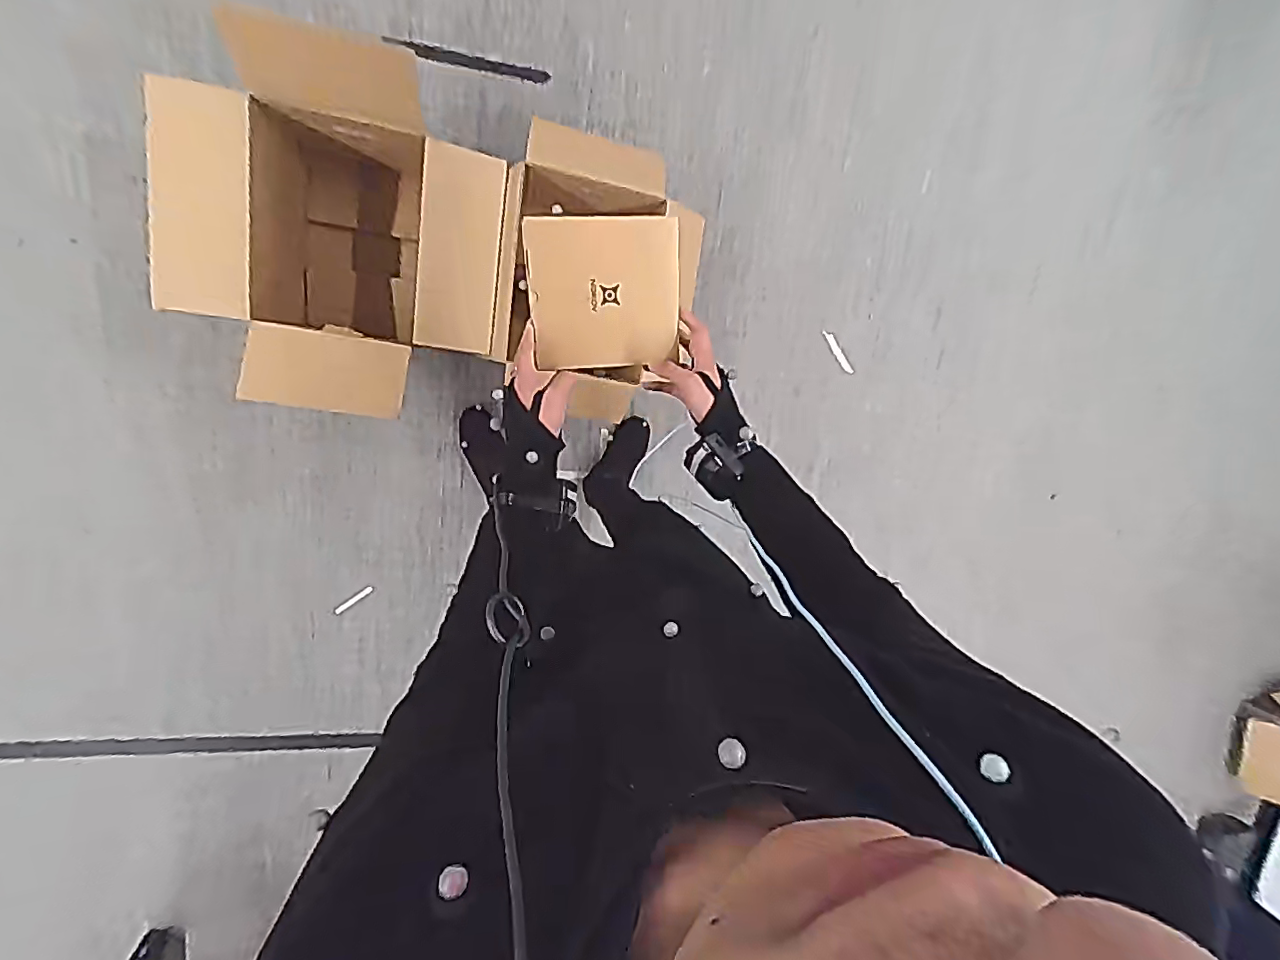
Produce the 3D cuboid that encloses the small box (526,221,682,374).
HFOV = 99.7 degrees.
[{"bbox_3d":[-0.050,-0.236,0.694,0.179,0.176,0.168,-5,111,-8],"label":"small box"}]
